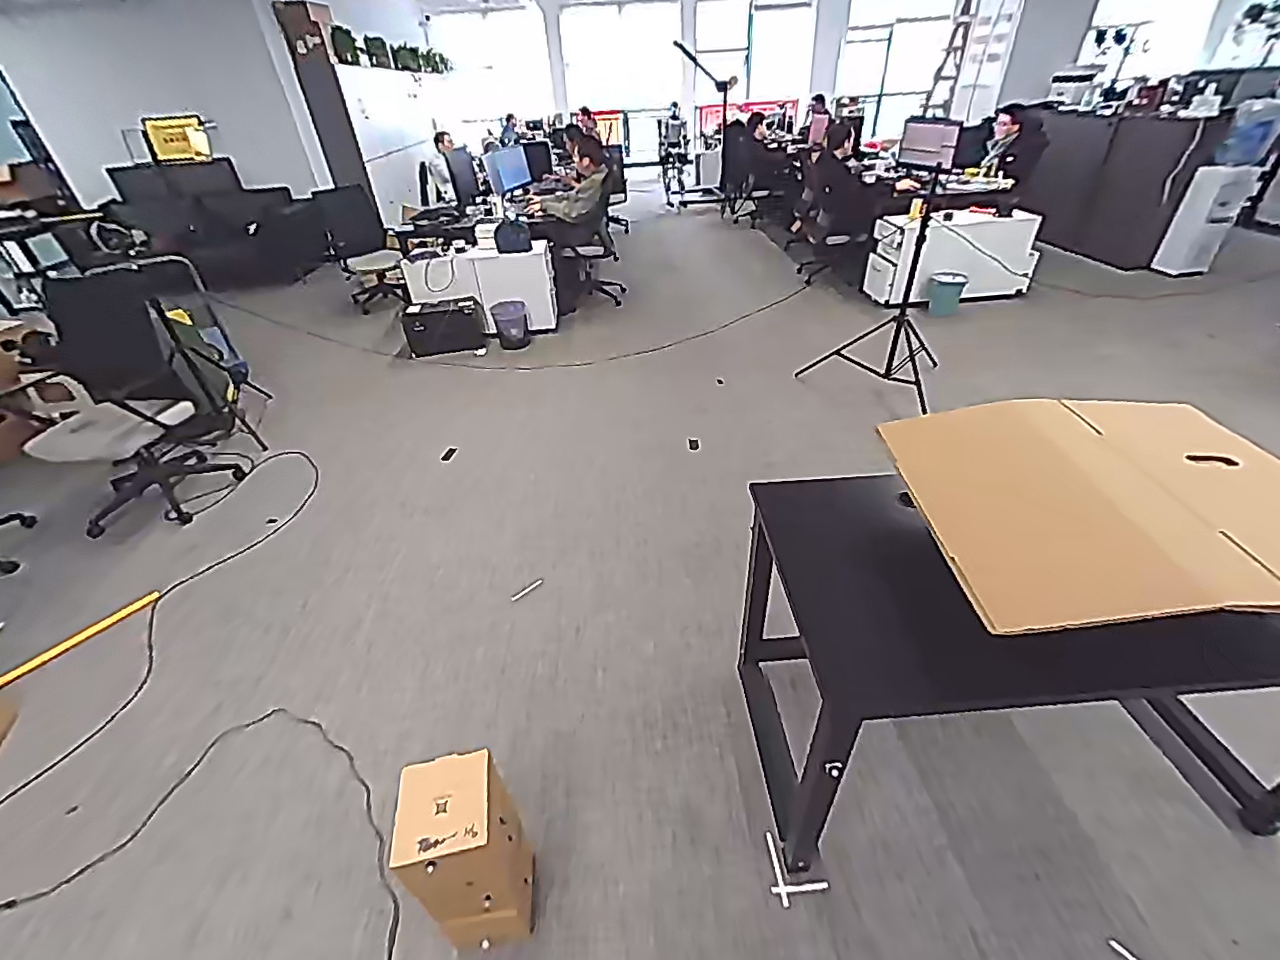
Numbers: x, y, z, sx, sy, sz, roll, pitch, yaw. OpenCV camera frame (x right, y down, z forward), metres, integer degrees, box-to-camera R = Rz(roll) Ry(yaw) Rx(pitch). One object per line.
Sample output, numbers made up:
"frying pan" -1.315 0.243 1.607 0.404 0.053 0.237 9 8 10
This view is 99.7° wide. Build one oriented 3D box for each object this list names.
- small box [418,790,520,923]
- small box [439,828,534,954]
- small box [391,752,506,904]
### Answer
"small box" -0.349 0.796 1.137 0.168 0.176 0.179 -8 35 -7
"small box" -0.338 0.930 1.227 0.168 0.176 0.179 -7 37 -4
"small box" -0.356 0.665 1.038 0.168 0.176 0.179 -10 36 -8
